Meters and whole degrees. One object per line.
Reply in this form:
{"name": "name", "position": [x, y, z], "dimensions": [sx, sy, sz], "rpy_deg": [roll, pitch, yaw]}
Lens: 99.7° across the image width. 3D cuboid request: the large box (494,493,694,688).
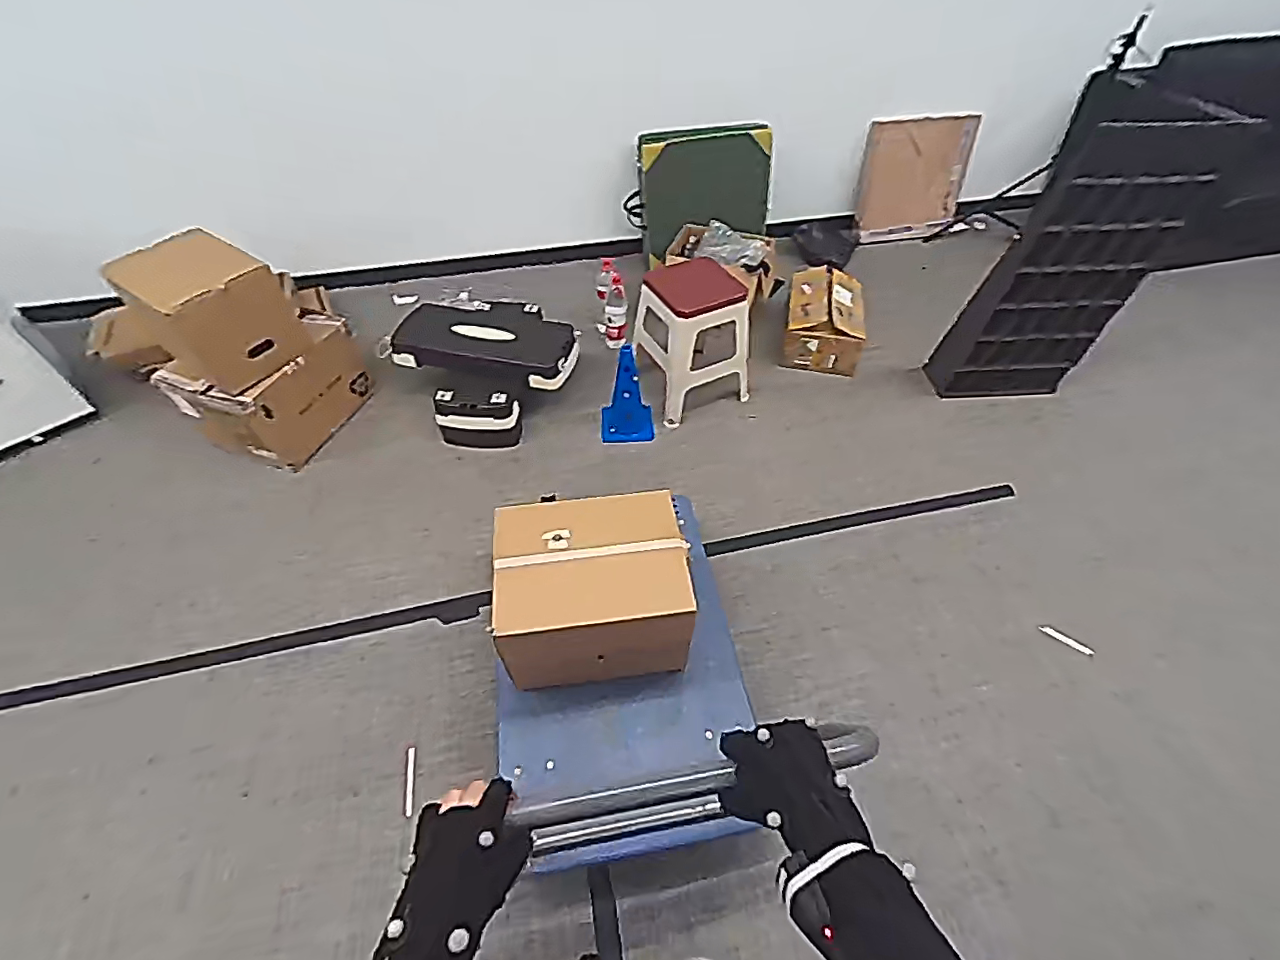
{"name": "large box", "position": [-0.108, 0.264, 1.272], "dimensions": [0.408, 0.320, 0.320], "rpy_deg": [-6, 50, -5]}
